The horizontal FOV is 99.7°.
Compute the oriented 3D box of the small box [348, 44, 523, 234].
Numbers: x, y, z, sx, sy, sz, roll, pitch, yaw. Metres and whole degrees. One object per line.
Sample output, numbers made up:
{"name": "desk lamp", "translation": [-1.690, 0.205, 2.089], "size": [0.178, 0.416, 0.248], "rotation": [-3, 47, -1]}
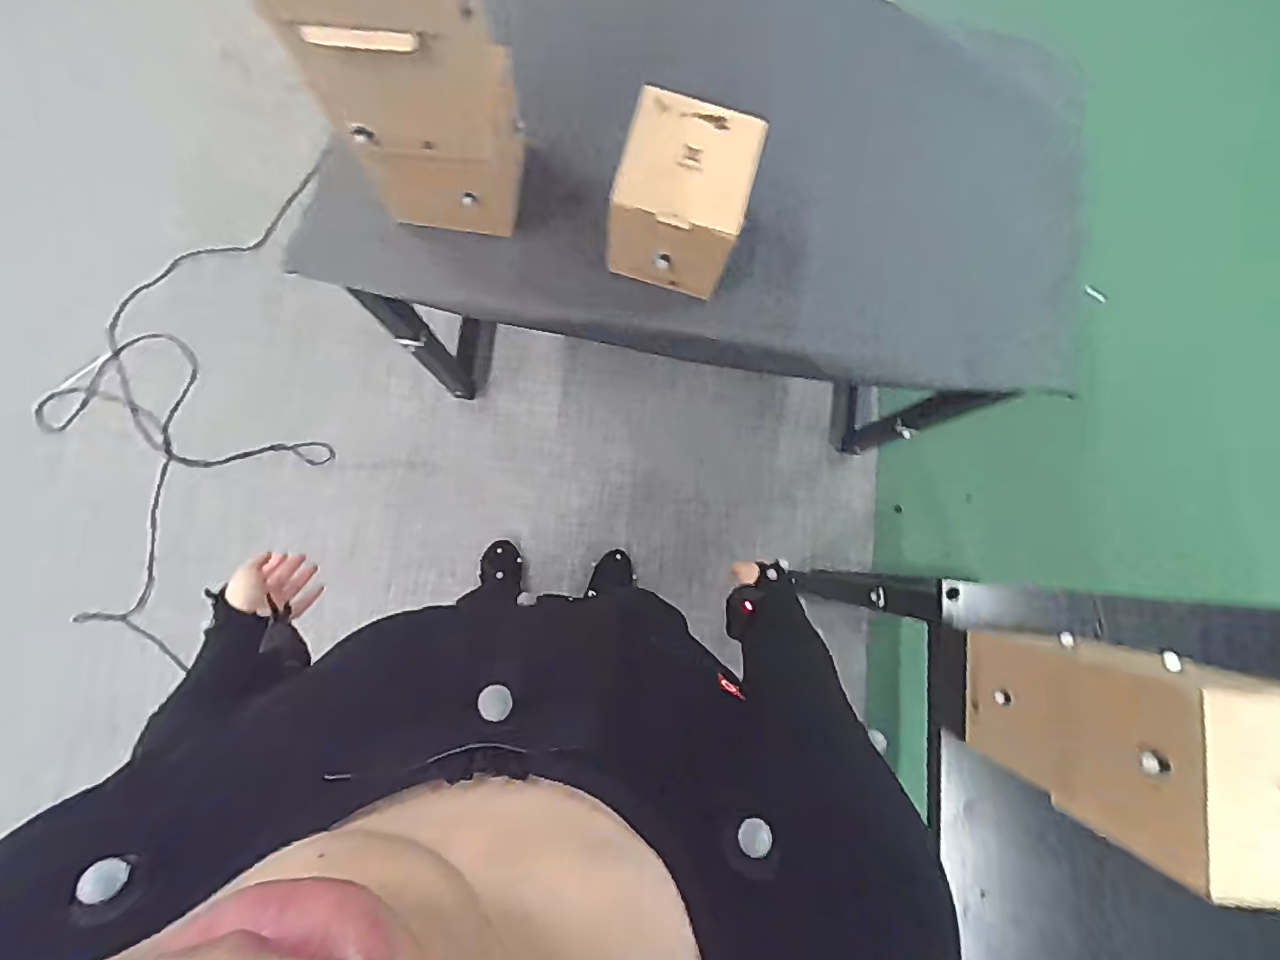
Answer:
{"name": "small box", "translation": [-0.267, -0.468, 0.750], "size": [0.179, 0.176, 0.168], "rotation": [5, 81, -2]}

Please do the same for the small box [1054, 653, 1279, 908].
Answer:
{"name": "small box", "translation": [0.561, 0.288, 0.547], "size": [0.168, 0.176, 0.179], "rotation": [6, 83, -2]}

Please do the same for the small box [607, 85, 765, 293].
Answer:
{"name": "small box", "translation": [0.057, -0.392, 0.760], "size": [0.168, 0.176, 0.179], "rotation": [16, 82, -1]}

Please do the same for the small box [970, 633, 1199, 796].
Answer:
{"name": "small box", "translation": [0.568, 0.302, 0.710], "size": [0.179, 0.176, 0.168], "rotation": [6, 84, -3]}
